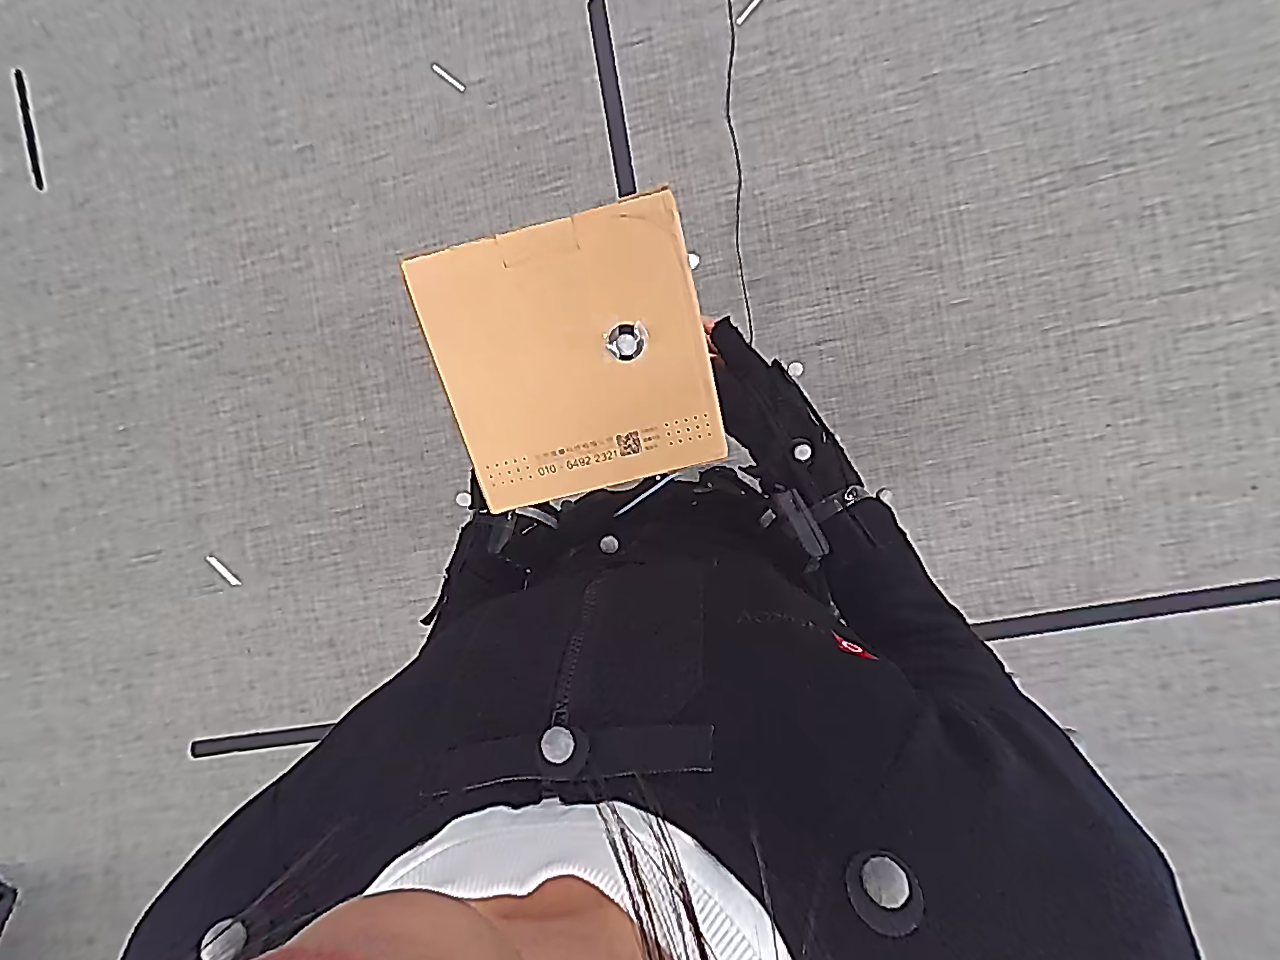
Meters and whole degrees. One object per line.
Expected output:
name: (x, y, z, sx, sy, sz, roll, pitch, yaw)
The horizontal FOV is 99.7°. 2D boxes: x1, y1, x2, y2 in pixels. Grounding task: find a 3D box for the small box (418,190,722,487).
small box: (-0.038, -0.104, 0.428, 0.168, 0.179, 0.176, -13, 109, 5)
